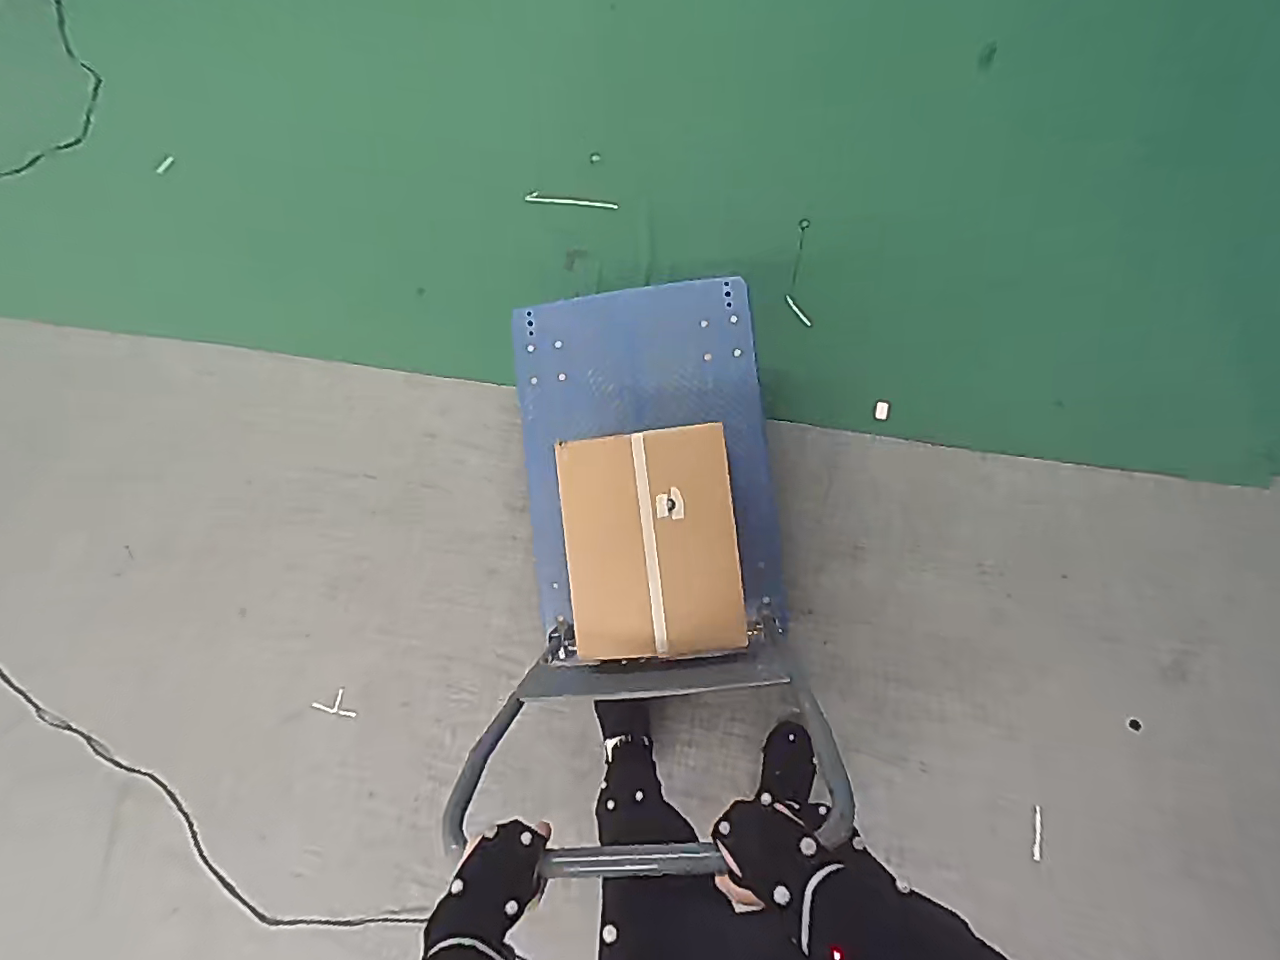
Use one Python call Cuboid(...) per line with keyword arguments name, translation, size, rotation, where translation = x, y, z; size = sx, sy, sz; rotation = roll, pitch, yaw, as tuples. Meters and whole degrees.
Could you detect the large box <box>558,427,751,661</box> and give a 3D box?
Cuboid(name="large box", translation=(0.039, 0.124, 1.133), size=(0.320, 0.320, 0.408), rotation=(-7, 87, 5))
